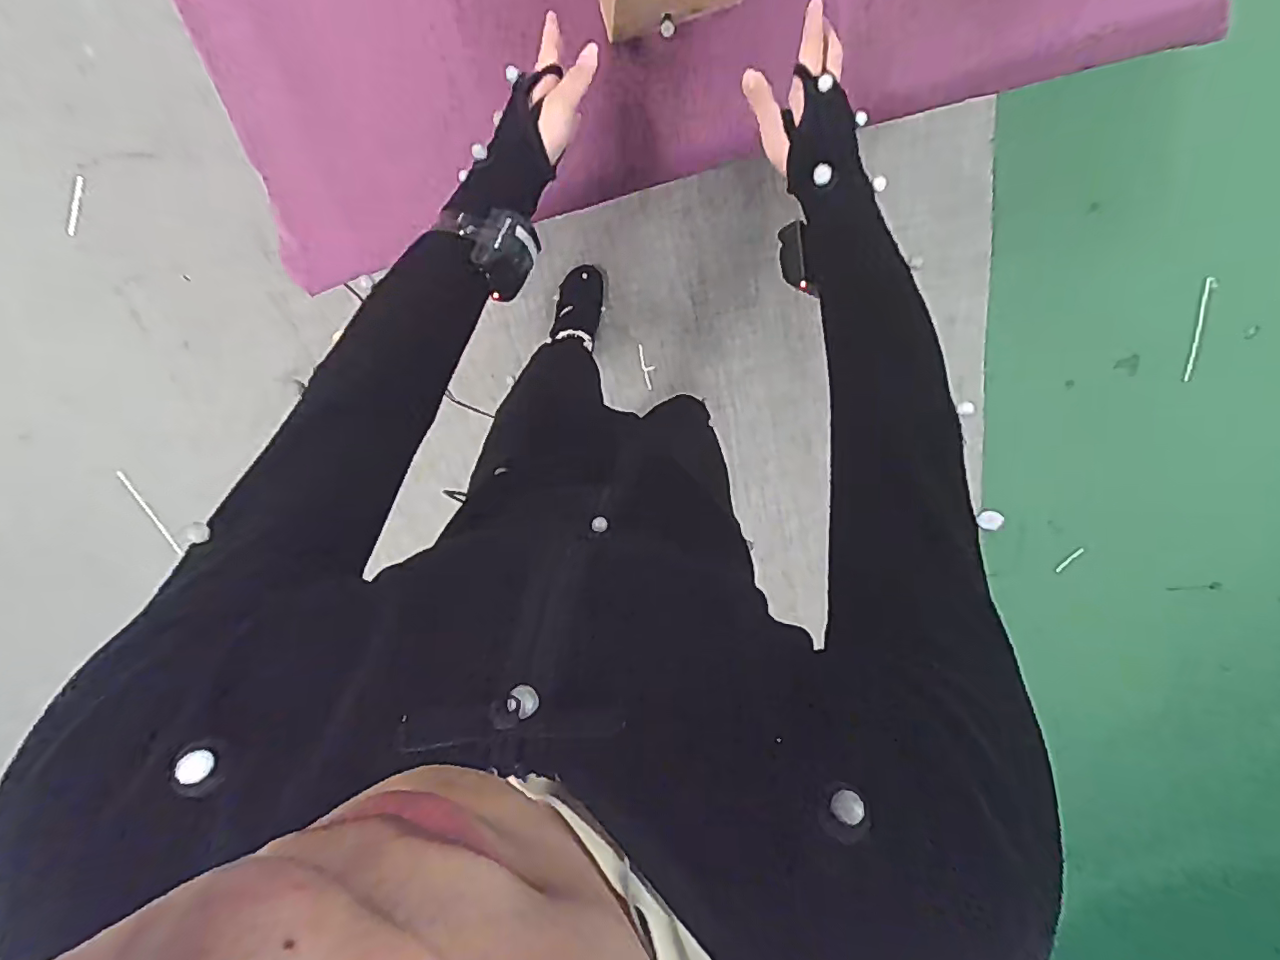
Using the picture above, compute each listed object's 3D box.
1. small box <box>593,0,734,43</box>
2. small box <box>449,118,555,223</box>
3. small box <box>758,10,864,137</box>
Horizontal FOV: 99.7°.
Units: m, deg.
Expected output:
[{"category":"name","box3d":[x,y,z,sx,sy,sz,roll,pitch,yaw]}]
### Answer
[{"category":"small box","box3d":[0.018,-0.574,0.523,0.168,0.176,0.179,-16,115,3]},{"category":"small box","box3d":[-0.306,-0.698,1.241,0.179,0.176,0.168,-16,115,2]},{"category":"small box","box3d":[0.376,-0.889,1.206,0.168,0.176,0.179,-18,114,3]}]
